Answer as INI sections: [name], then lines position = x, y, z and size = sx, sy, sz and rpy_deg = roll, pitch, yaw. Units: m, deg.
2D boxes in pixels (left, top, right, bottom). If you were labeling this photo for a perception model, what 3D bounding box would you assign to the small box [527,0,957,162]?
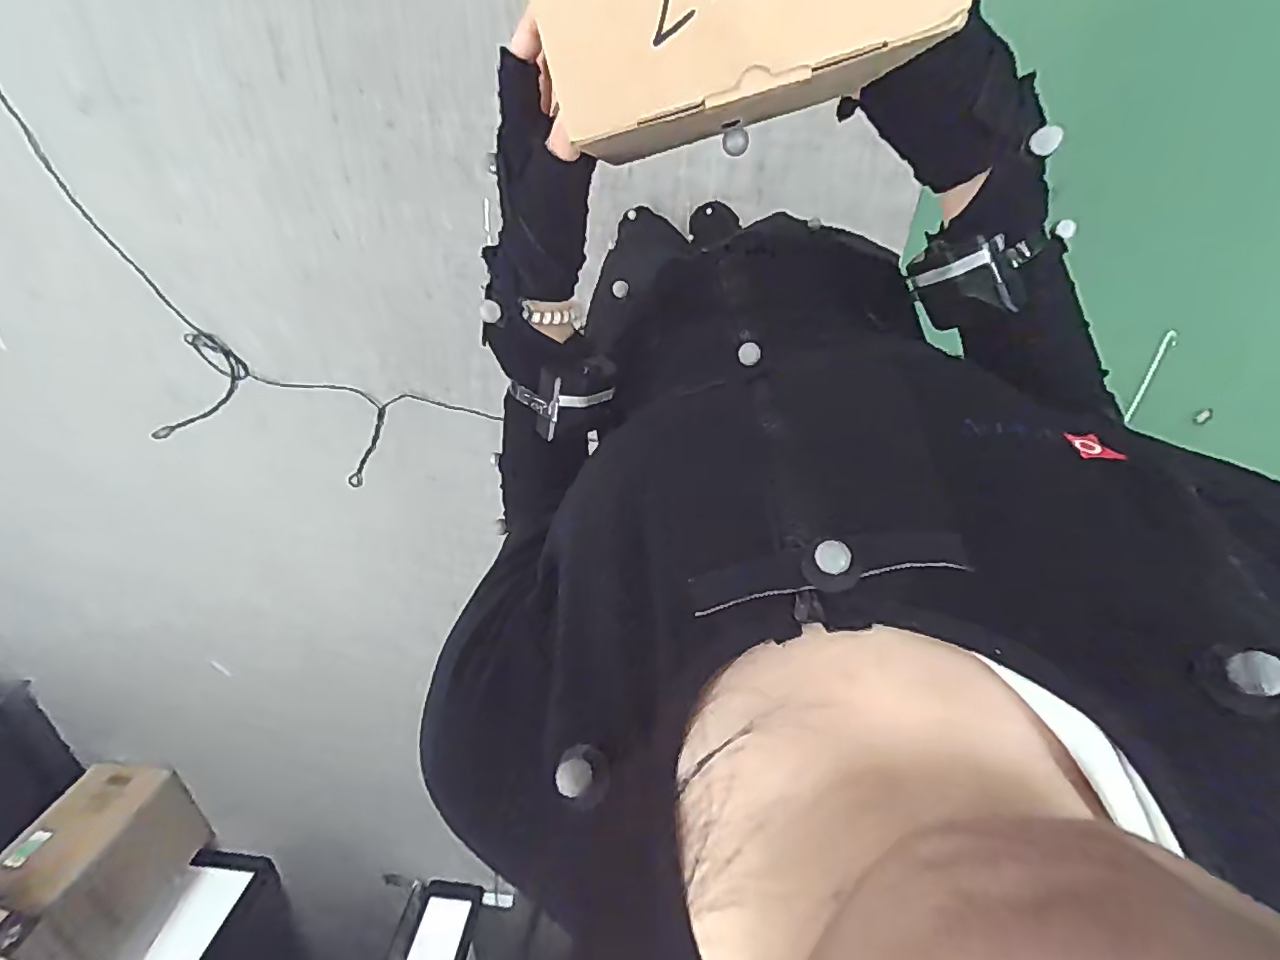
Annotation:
[small box]
position = 0.030, -0.274, 0.259
size = 0.168, 0.176, 0.179
rpy_deg = -11, 116, 11
